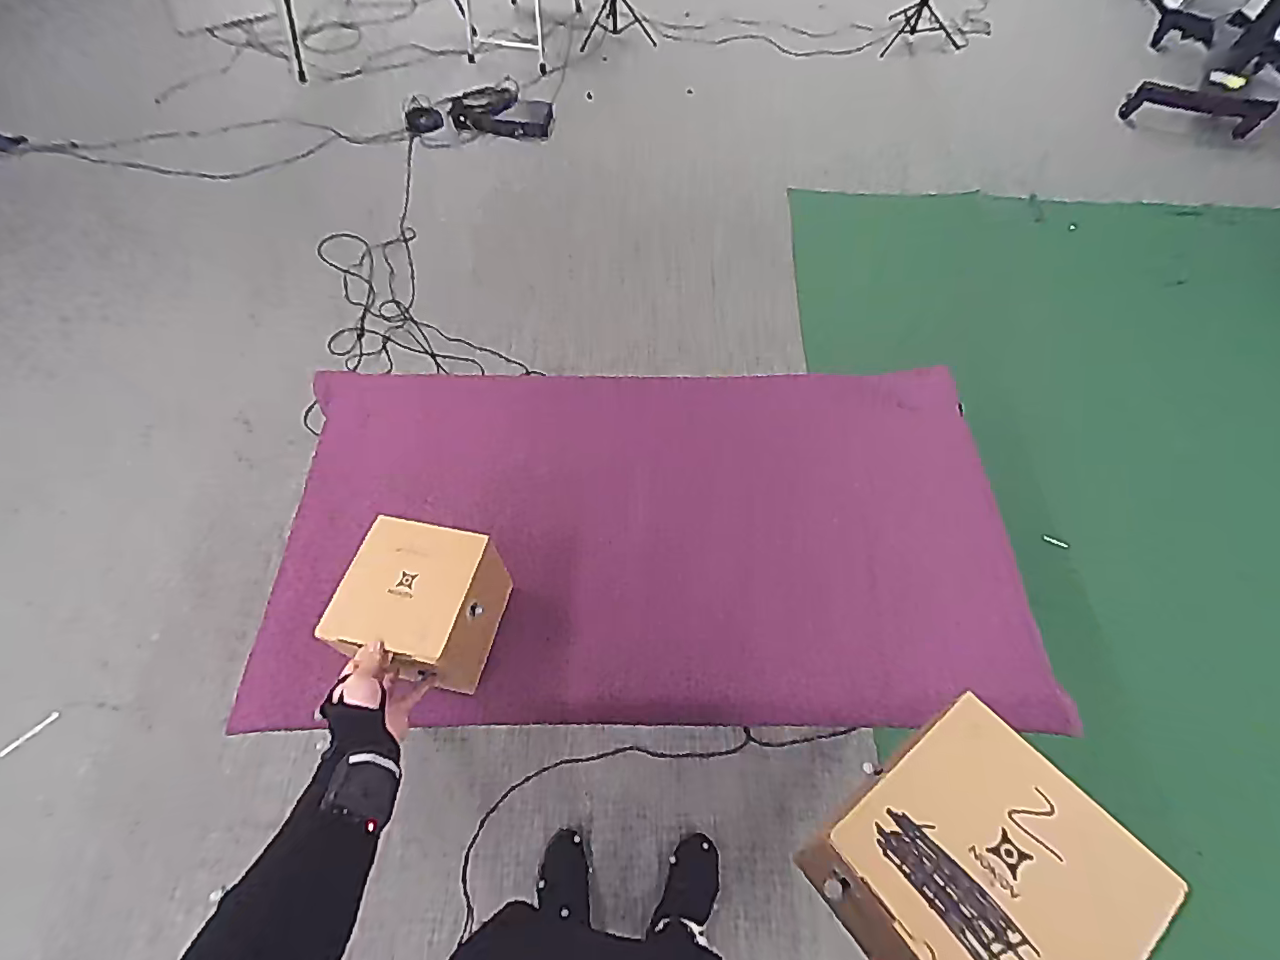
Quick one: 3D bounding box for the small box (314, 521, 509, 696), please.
[{"bbox_3d":[-0.301,0.186,0.761,0.168,0.176,0.179,10,56,8],"label":"small box"}]
